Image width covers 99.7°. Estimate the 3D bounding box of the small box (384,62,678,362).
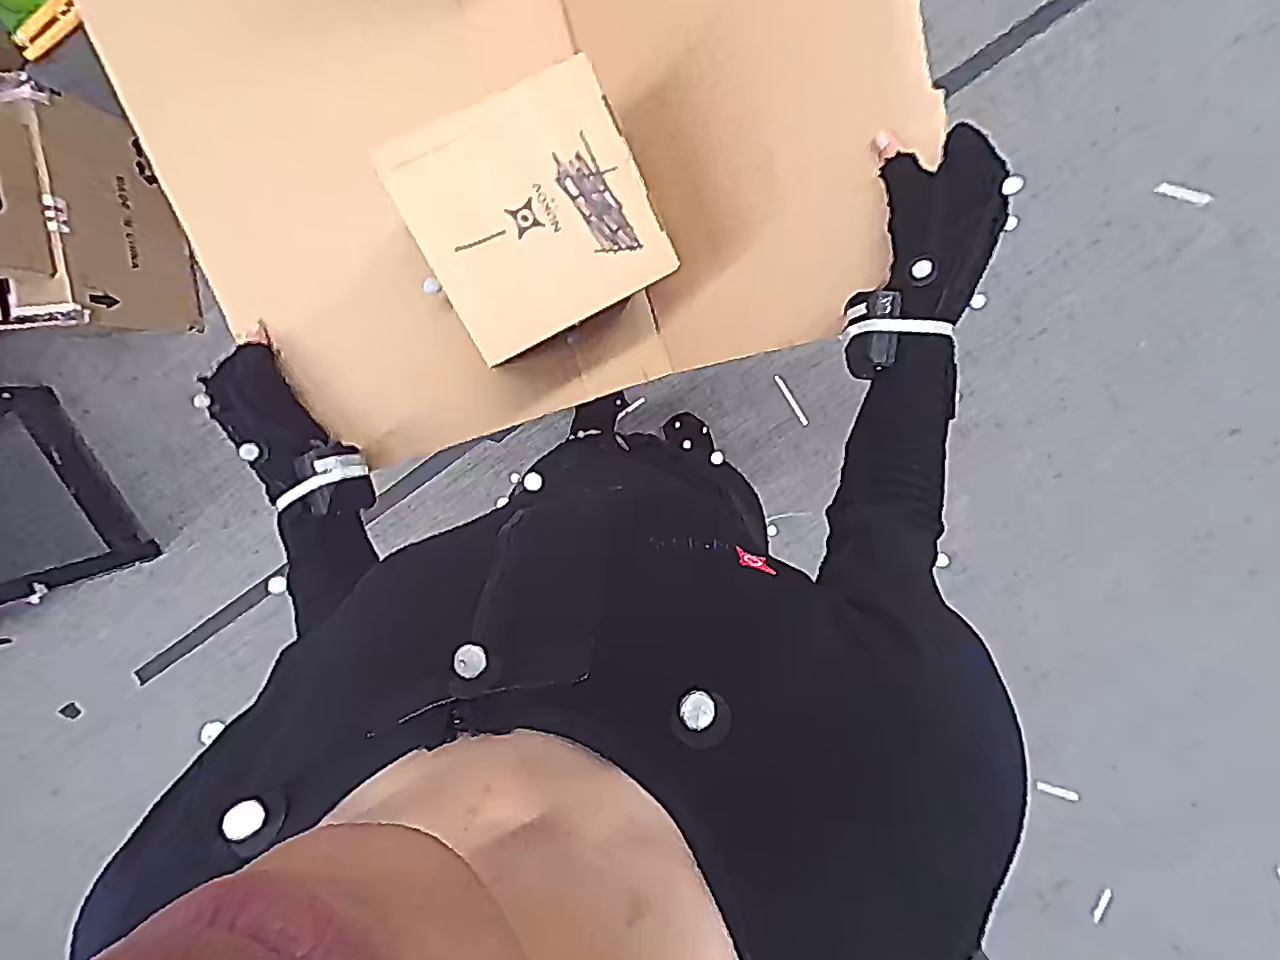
[{"bbox_3d":[-0.094,-0.220,0.490,0.179,0.176,0.168,-28,107,-6],"label":"small box"}]
